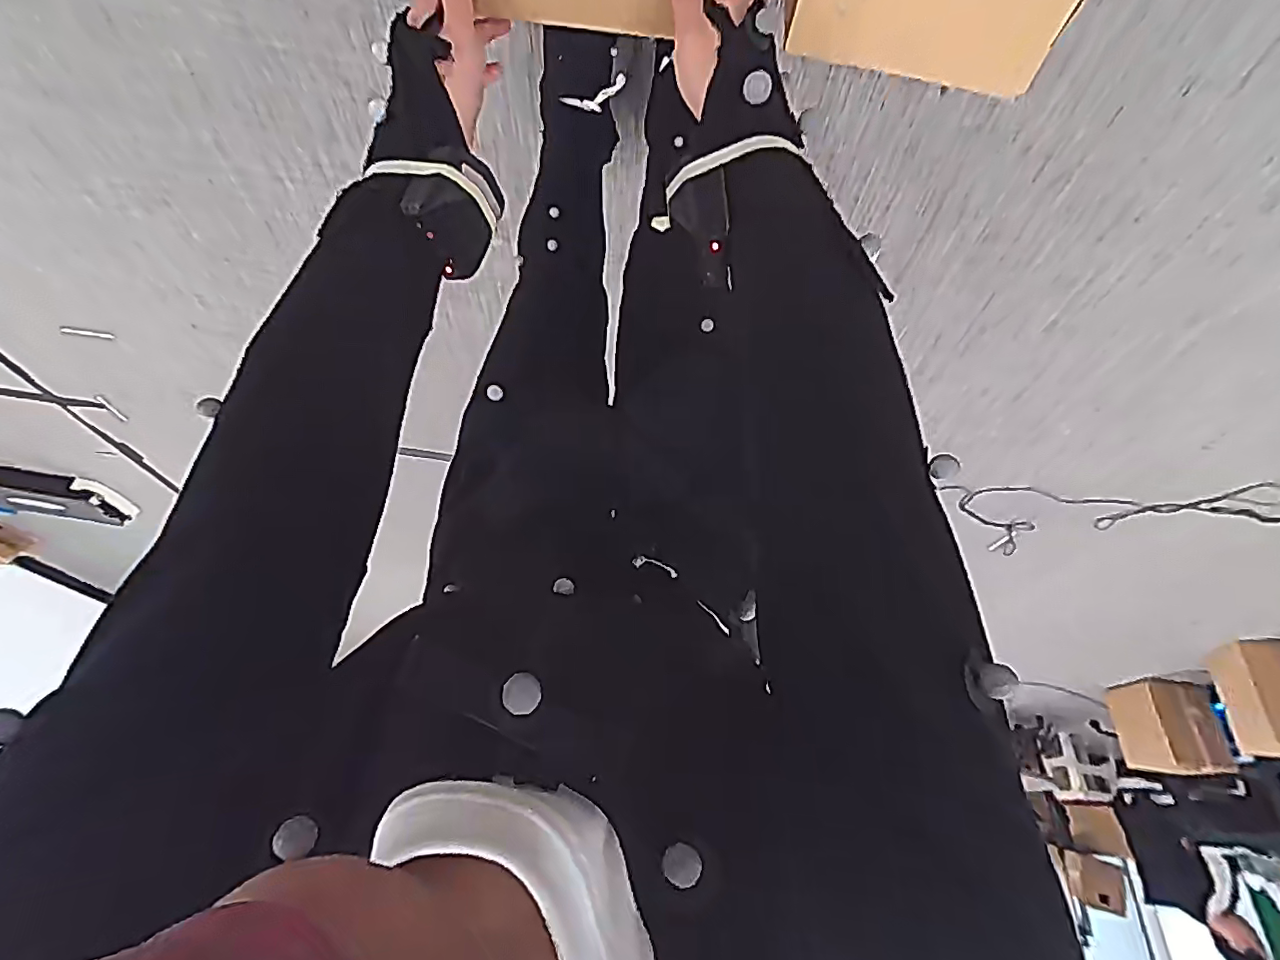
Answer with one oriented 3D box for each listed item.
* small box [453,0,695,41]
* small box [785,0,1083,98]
[{"bbox_3d":[-0.033,-0.425,0.346,0.168,0.176,0.179,7,145,0],"label":"small box"},{"bbox_3d":[0.204,-0.394,0.354,0.179,0.176,0.168,9,148,-3],"label":"small box"}]
